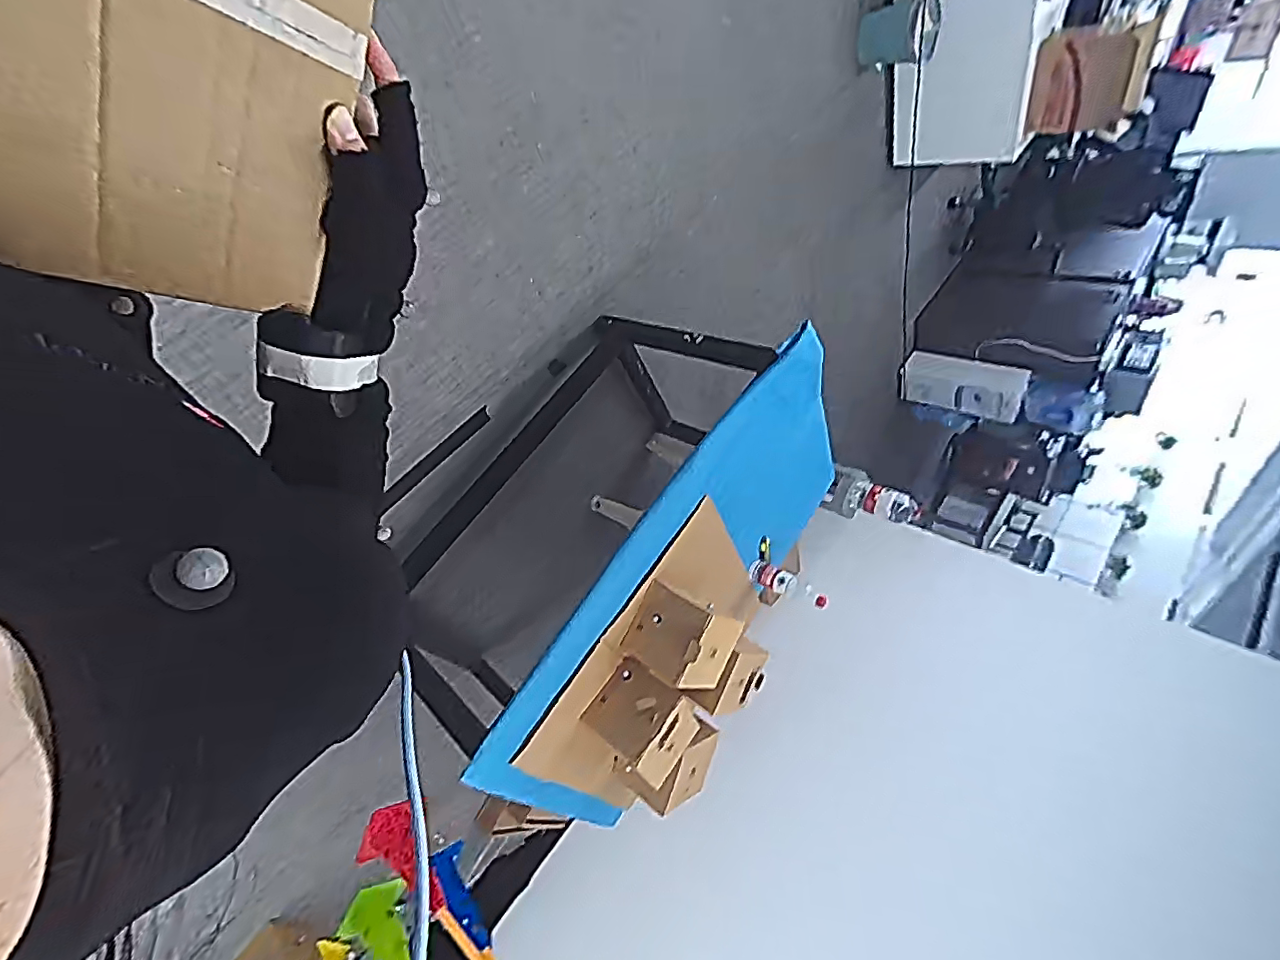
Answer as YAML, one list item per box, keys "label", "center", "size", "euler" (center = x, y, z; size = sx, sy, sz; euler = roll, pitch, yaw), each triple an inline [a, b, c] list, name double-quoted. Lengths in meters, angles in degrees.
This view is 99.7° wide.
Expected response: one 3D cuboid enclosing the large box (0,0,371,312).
- label: "large box"
  center: [-0.384, -0.319, 0.240]
  size: [0.408, 0.320, 0.320]
  euler: [-2, 131, -47]
